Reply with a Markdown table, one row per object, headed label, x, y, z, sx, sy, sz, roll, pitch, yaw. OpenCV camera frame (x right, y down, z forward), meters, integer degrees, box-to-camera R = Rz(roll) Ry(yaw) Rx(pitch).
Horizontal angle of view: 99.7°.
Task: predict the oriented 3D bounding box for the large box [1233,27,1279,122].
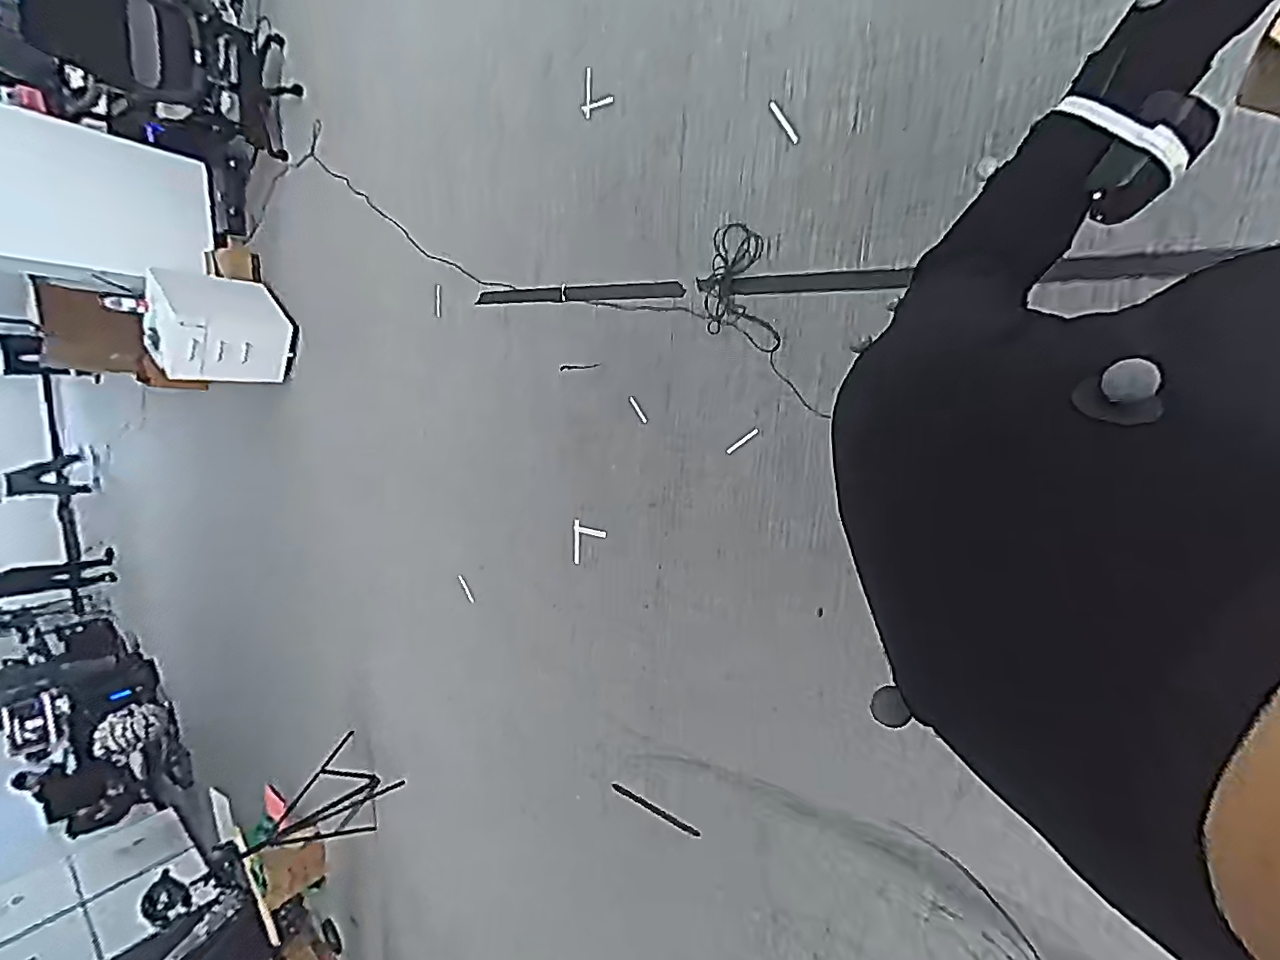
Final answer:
| label | x | y | z | sx | sy | sz | roll | pitch | yaw |
| --- | --- | --- | --- | --- | --- | --- | --- | --- | --- |
| large box | 0.644 | -0.313 | 0.245 | 0.408 | 0.320 | 0.320 | 39 | 133 | 24 |
